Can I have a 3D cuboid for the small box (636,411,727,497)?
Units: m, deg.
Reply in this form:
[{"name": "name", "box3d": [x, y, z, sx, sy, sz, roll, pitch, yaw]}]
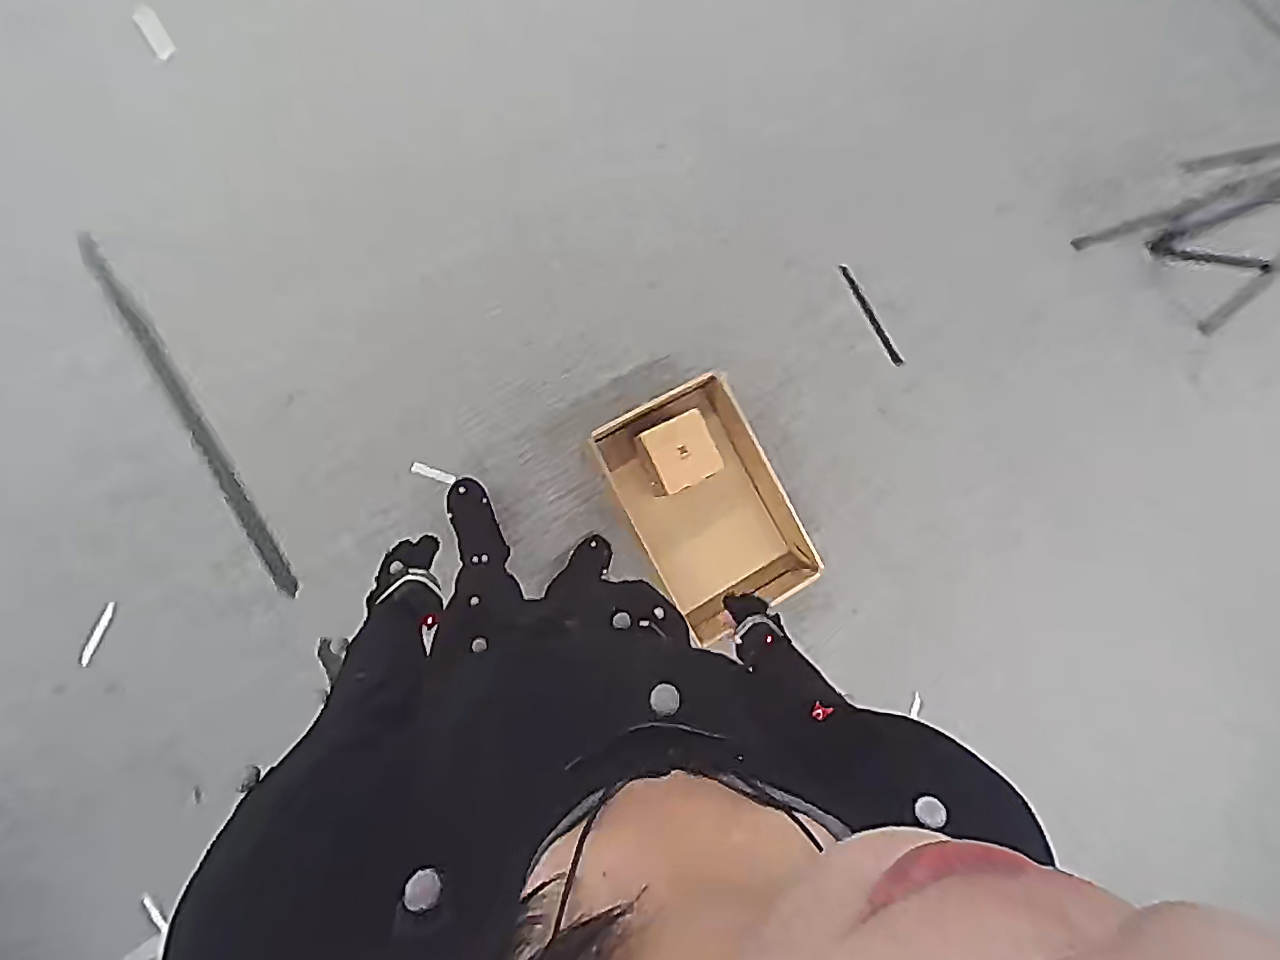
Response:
[{"name": "small box", "box3d": [0.106, -0.064, 1.443, 0.168, 0.176, 0.179, -25, 90, -10]}]
